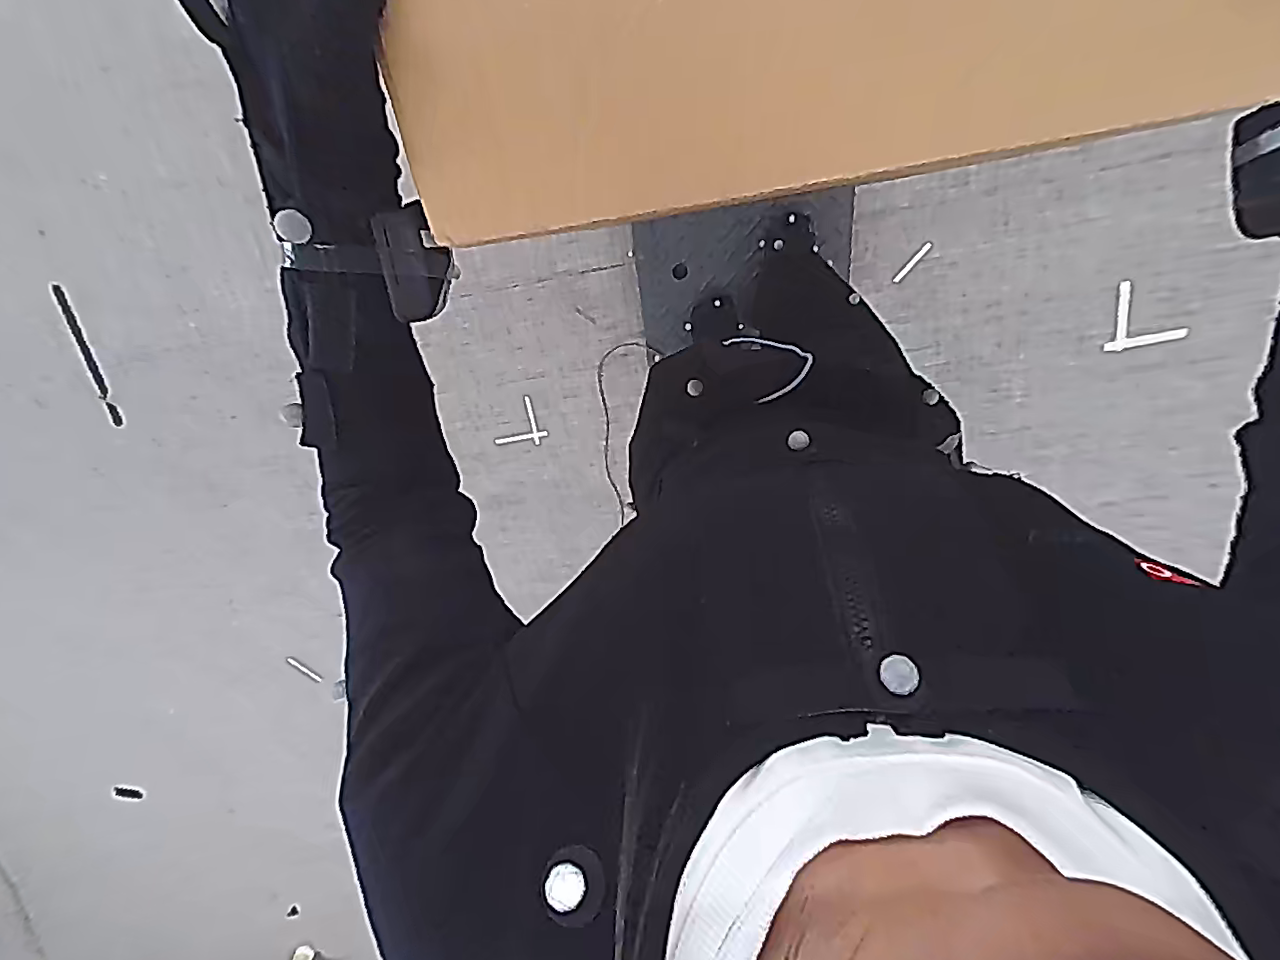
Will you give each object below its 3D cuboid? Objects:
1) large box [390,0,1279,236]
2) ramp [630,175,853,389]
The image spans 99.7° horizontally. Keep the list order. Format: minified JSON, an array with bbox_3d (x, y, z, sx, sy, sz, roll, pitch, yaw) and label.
[{"bbox_3d":[0.077,-0.360,0.344,0.408,0.320,0.320,-7,116,8],"label":"large box"},{"bbox_3d":[0.207,-0.689,1.154,0.509,0.206,0.991,-7,110,7],"label":"ramp"}]
